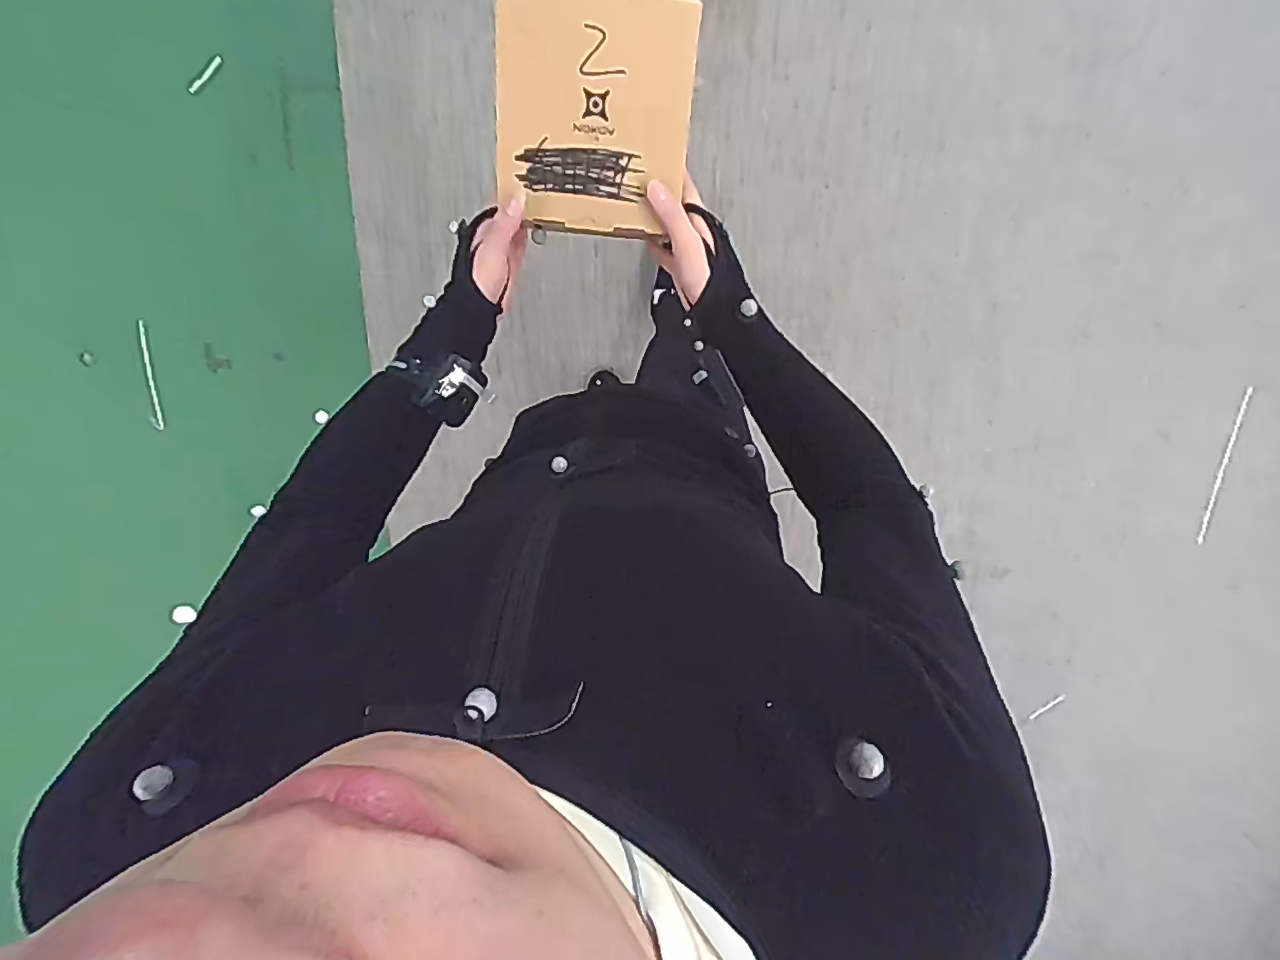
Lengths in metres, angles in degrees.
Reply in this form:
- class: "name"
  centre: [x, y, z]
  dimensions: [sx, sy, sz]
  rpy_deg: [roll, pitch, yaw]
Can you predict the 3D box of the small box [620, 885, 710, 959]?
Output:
- class: "small box"
  centre: [0.044, 0.935, 1.059]
  dimensions: [0.168, 0.176, 0.179]
  rpy_deg: [0, 107, 0]
